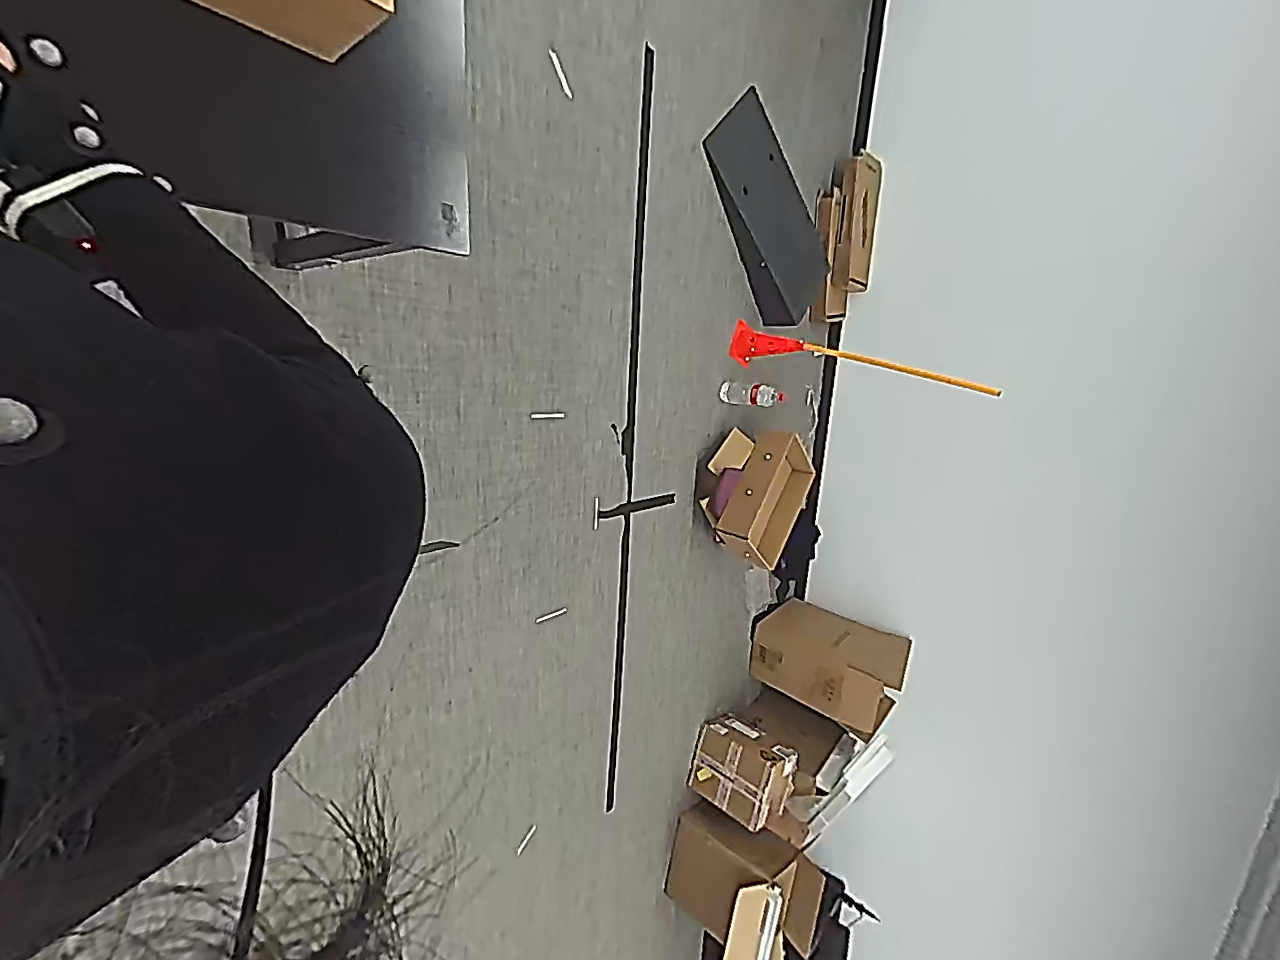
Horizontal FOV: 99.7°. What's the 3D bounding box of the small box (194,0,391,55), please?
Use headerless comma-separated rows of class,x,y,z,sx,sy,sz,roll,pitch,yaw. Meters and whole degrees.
small box,-0.372,-0.571,0.538,0.179,0.176,0.168,-9,107,-49
